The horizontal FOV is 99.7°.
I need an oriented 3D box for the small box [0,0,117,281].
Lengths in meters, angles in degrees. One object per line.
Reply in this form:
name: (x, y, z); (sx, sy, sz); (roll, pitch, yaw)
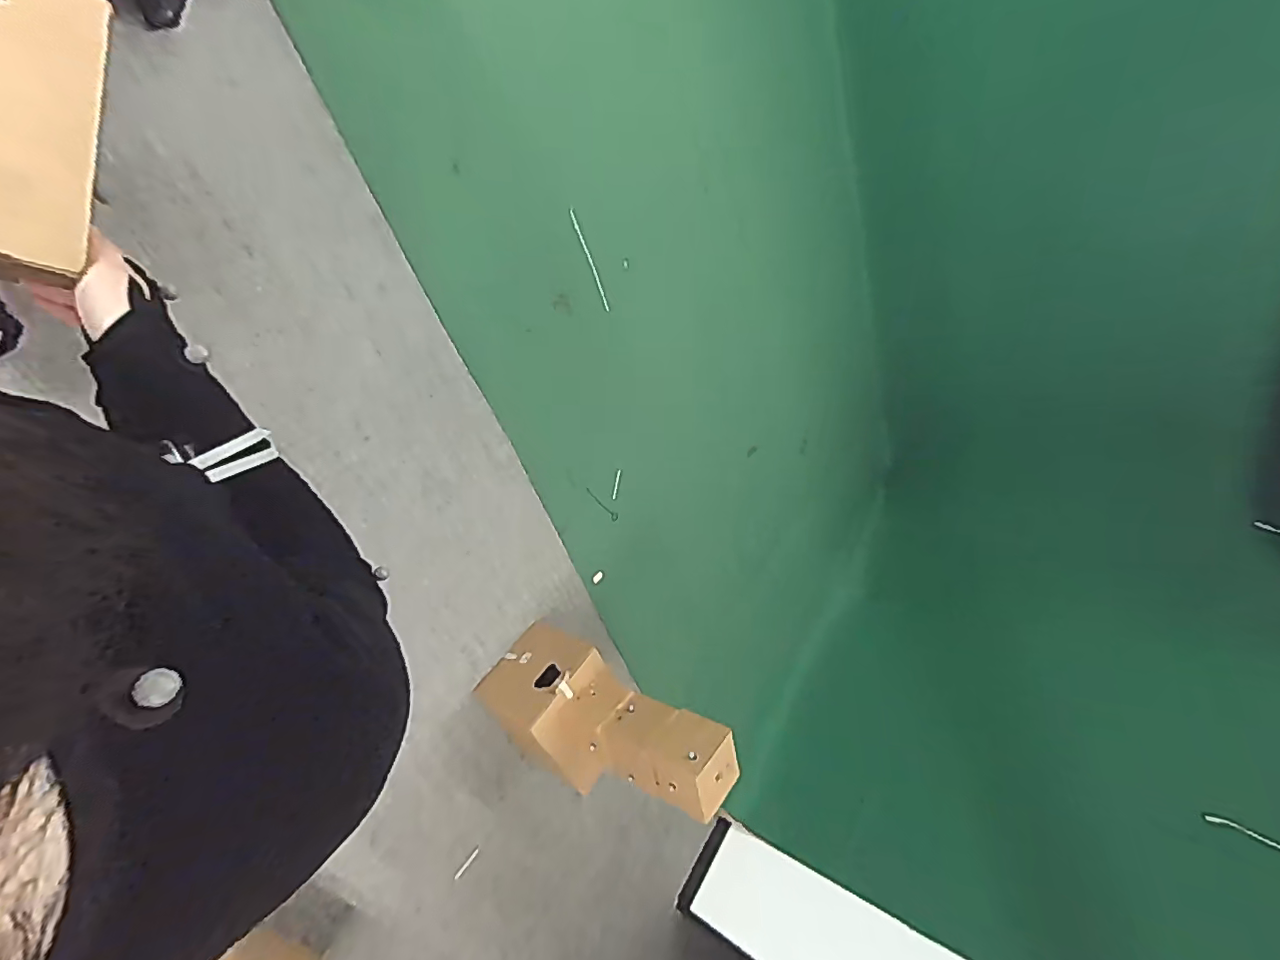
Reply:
small box: (-0.461, -0.240, 0.345); (0.168, 0.176, 0.179); (6, 96, -48)

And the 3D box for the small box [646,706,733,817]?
small box: (0.130, 0.757, 1.474); (0.179, 0.176, 0.168); (-31, 118, -43)

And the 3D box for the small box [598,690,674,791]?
small box: (0.002, 0.751, 1.578); (0.168, 0.176, 0.179); (-32, 118, -43)

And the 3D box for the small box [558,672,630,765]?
small box: (-0.126, 0.731, 1.676); (0.168, 0.176, 0.179); (-36, 121, -41)

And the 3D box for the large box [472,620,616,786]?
large box: (-0.295, 0.752, 1.857); (0.320, 0.320, 0.408); (-47, 129, -34)
